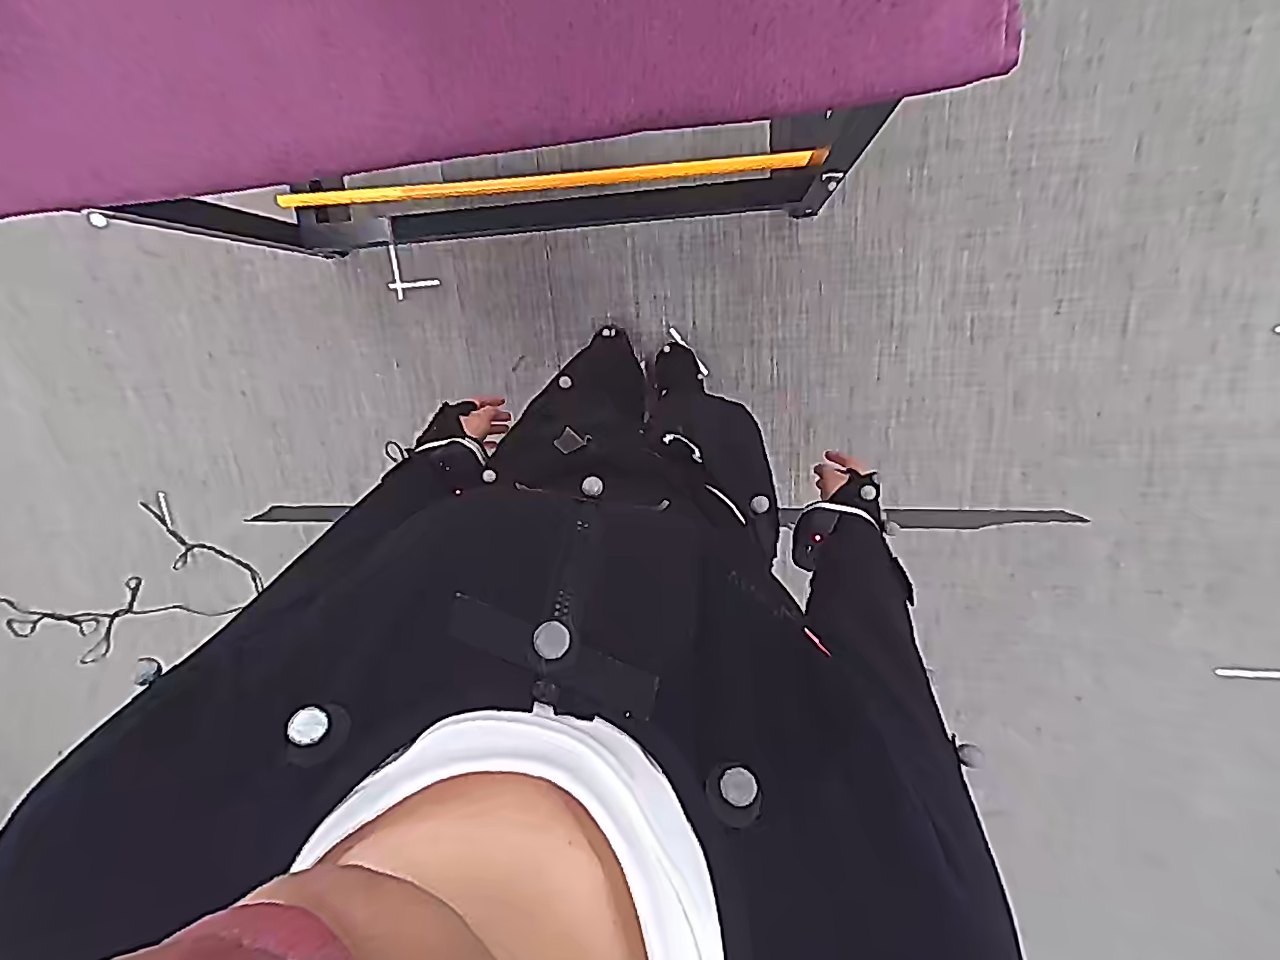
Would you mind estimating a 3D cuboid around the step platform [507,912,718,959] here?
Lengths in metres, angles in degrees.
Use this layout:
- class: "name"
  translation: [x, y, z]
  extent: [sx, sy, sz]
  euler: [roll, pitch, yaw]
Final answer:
- class: "step platform"
  translation: [-0.092, 1.619, 1.732]
  extent: [0.684, 0.204, 0.286]
  euler: [-1, 105, 8]
